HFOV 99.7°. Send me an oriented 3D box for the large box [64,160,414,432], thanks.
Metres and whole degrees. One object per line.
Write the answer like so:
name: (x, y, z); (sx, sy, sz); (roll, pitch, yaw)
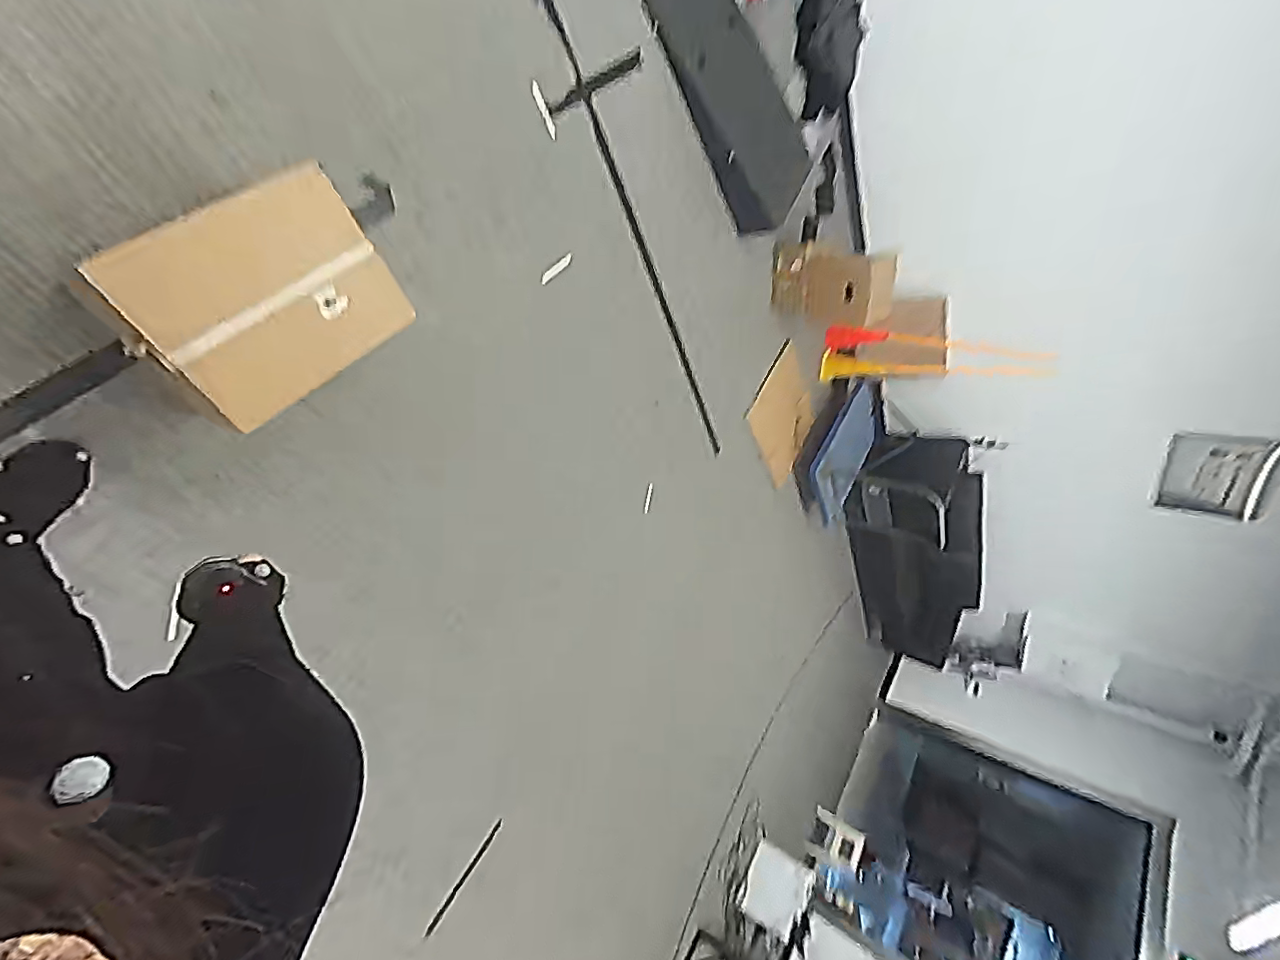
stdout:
large box: (-0.746, -0.345, 1.042); (0.408, 0.320, 0.320); (-51, 135, -30)
